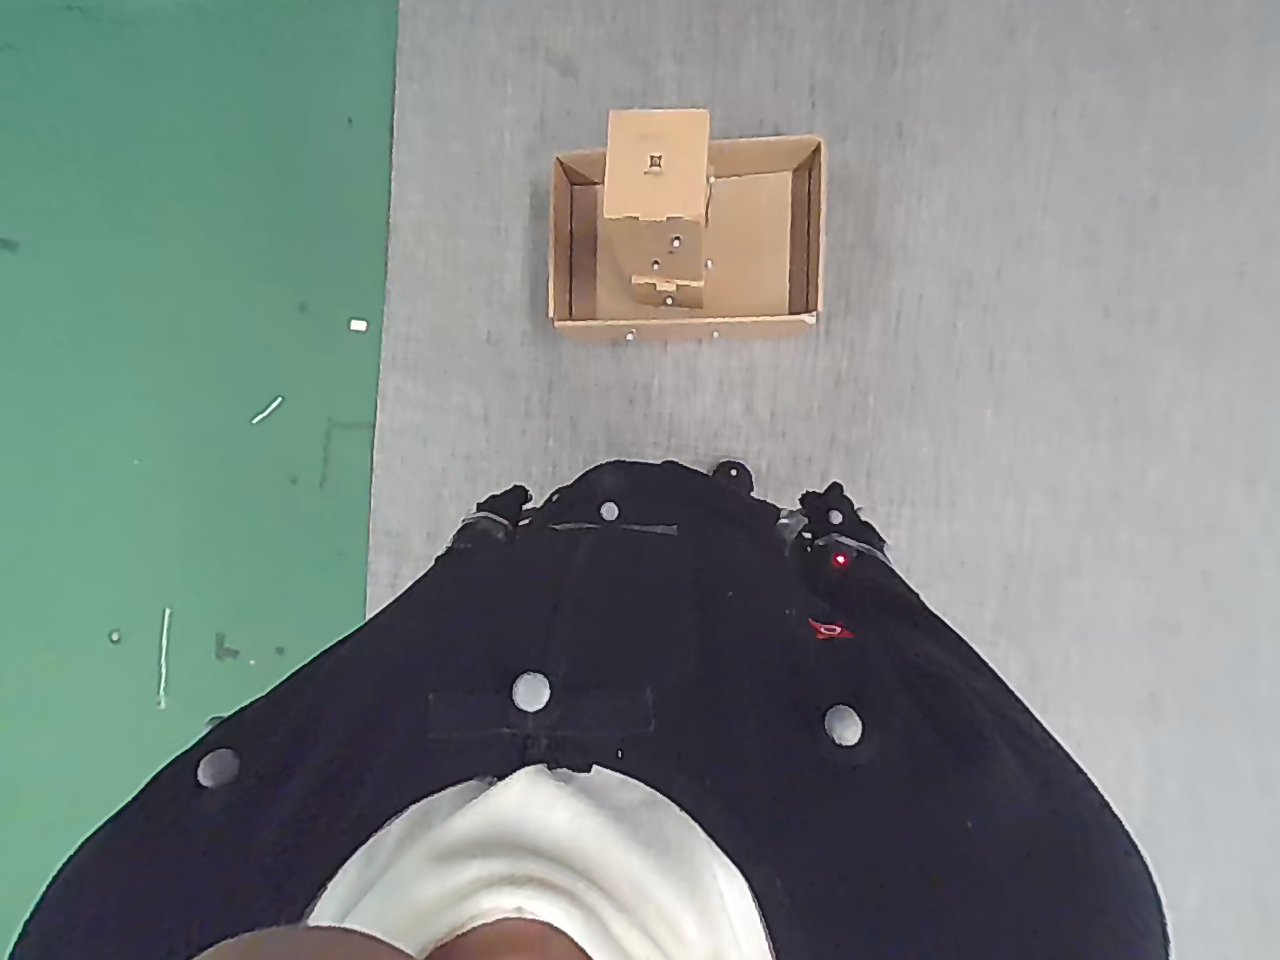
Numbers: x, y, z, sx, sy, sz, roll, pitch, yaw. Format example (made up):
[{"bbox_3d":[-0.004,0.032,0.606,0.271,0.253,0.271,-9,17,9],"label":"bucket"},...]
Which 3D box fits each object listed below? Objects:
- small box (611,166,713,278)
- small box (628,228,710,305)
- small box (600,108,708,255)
[{"bbox_3d":[0.051,-0.528,1.112,0.179,0.176,0.168,10,93,8],"label":"small box"},{"bbox_3d":[0.074,-0.524,1.275,0.168,0.176,0.179,7,94,6],"label":"small box"},{"bbox_3d":[0.031,-0.513,0.952,0.168,0.176,0.179,4,91,5],"label":"small box"}]
